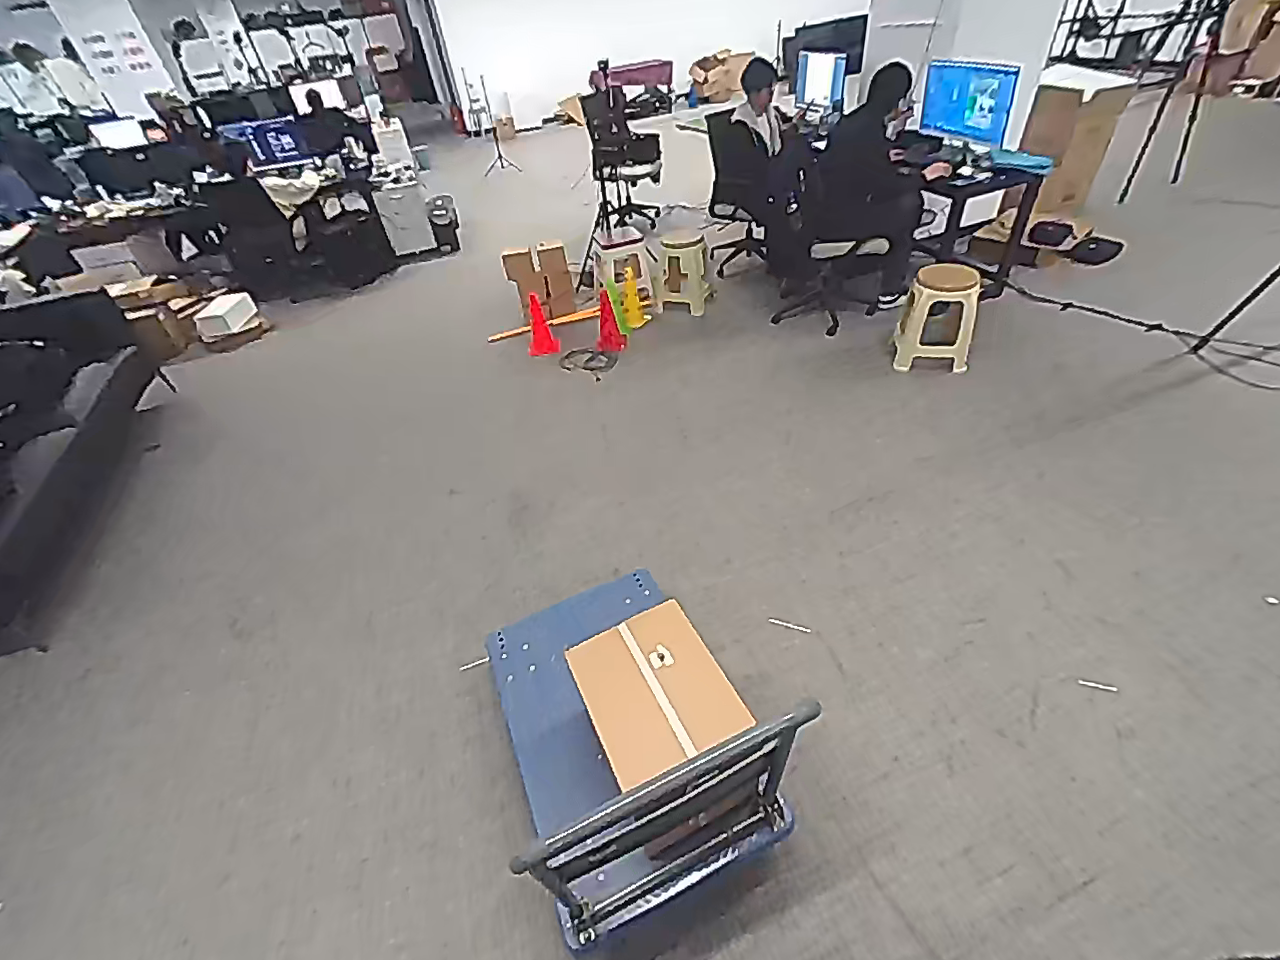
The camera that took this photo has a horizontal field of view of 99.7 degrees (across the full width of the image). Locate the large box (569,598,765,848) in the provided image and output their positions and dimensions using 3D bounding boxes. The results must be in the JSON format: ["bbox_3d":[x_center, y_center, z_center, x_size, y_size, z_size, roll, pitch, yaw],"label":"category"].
[{"bbox_3d":[0.064,0.584,1.332,0.320,0.320,0.408,-22,43,-15],"label":"large box"}]
